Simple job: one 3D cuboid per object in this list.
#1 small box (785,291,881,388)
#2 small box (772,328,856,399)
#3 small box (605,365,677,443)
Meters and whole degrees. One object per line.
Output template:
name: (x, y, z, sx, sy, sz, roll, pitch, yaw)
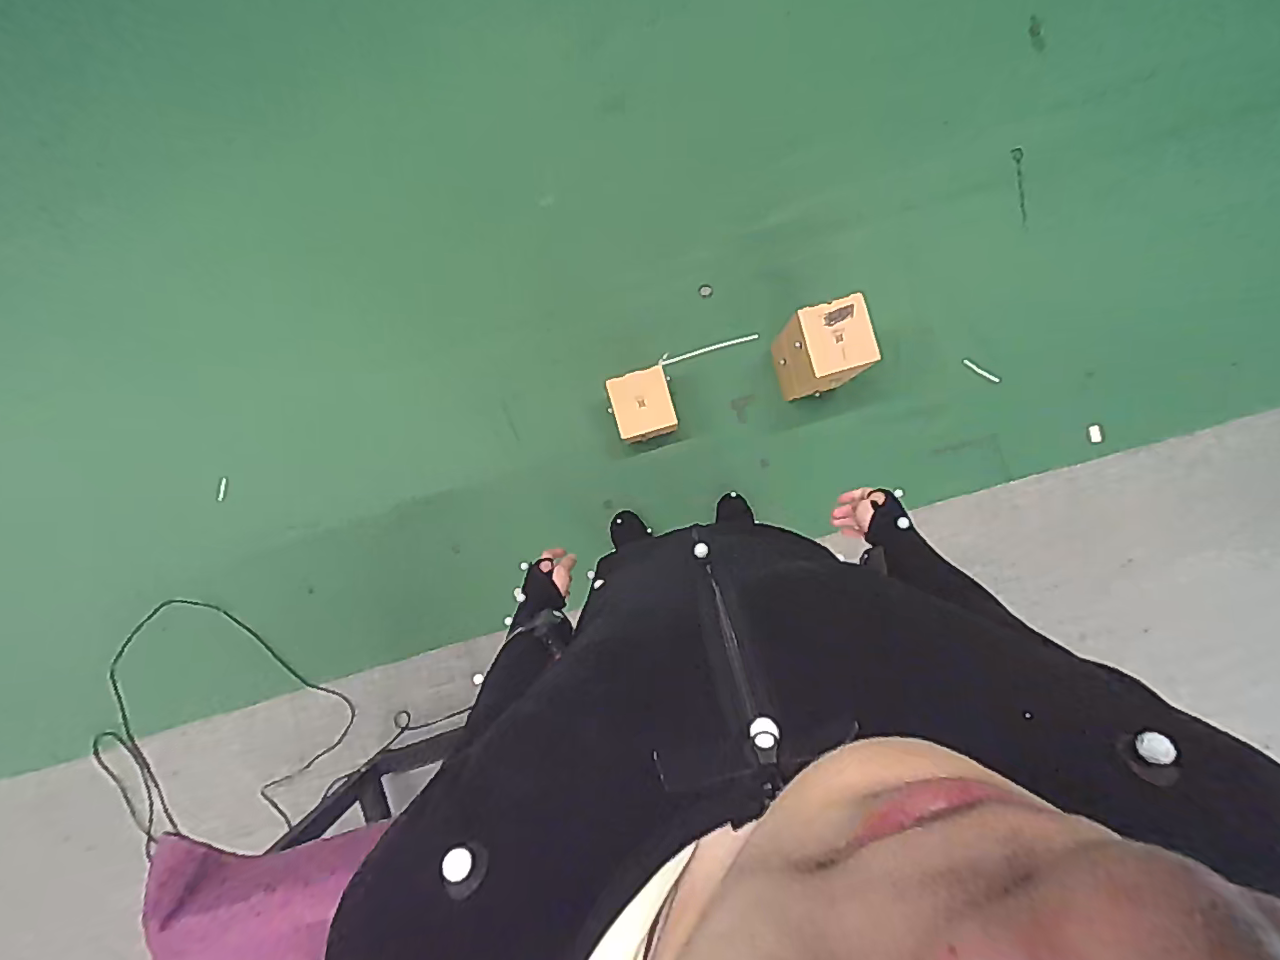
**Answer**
small box: (0.487, -0.354, 1.392, 0.168, 0.176, 0.179, -16, 88, 2)
small box: (0.492, -0.348, 1.556, 0.168, 0.176, 0.179, -15, 88, 2)
small box: (0.008, -0.213, 1.576, 0.168, 0.176, 0.179, -17, 87, 2)
